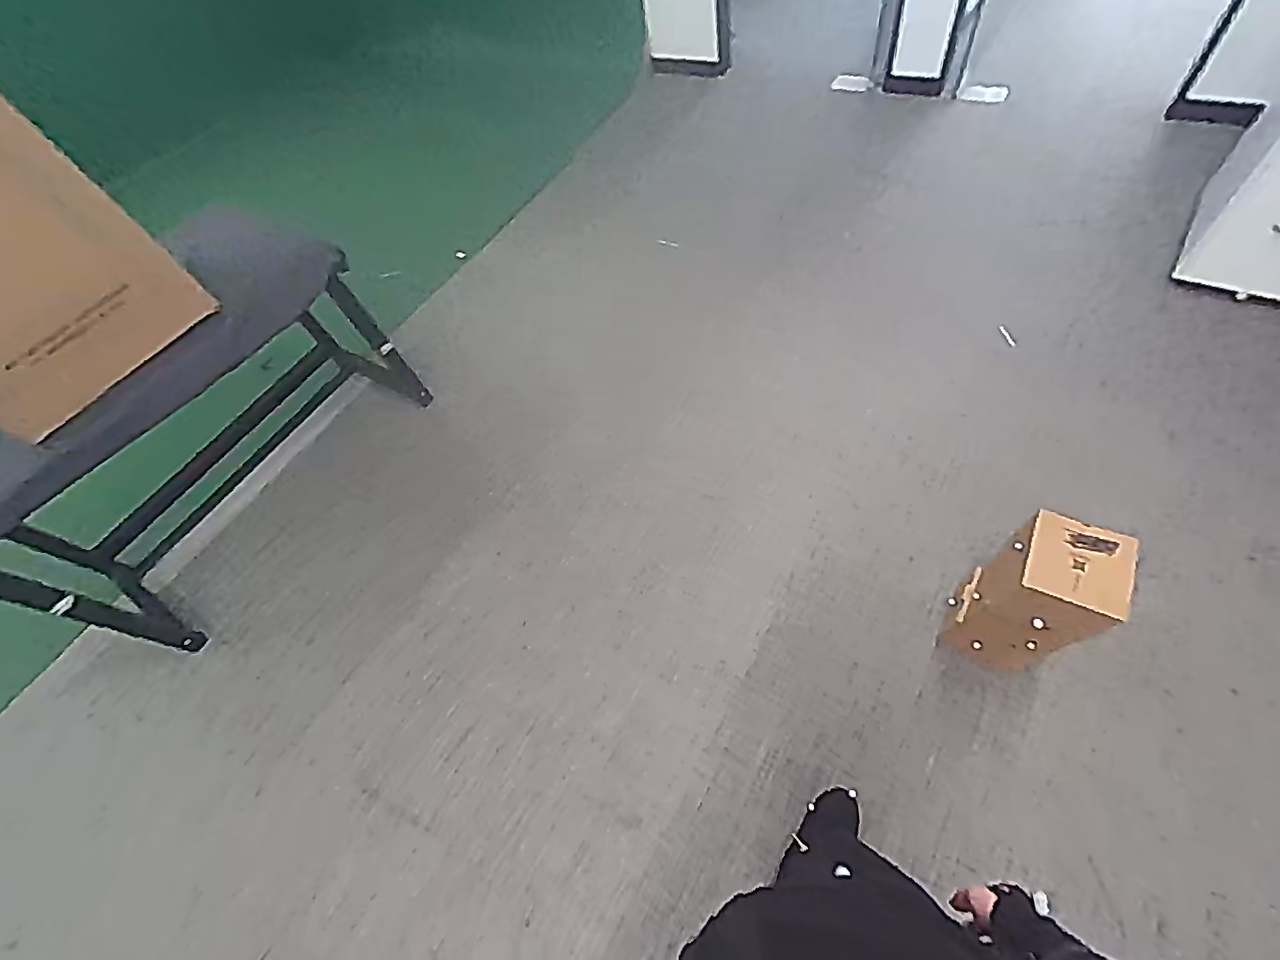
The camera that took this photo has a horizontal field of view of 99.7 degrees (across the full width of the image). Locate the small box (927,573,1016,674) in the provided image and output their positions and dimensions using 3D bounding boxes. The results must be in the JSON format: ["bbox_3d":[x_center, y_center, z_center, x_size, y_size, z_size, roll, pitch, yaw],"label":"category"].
[{"bbox_3d":[0.866,0.371,1.384,0.179,0.176,0.168,25,64,21],"label":"small box"}]

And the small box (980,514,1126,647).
[{"bbox_3d":[0.816,0.204,1.082,0.168,0.176,0.179,24,65,22],"label":"small box"}]

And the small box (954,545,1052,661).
[{"bbox_3d":[0.844,0.284,1.226,0.168,0.176,0.179,26,65,21],"label":"small box"}]
